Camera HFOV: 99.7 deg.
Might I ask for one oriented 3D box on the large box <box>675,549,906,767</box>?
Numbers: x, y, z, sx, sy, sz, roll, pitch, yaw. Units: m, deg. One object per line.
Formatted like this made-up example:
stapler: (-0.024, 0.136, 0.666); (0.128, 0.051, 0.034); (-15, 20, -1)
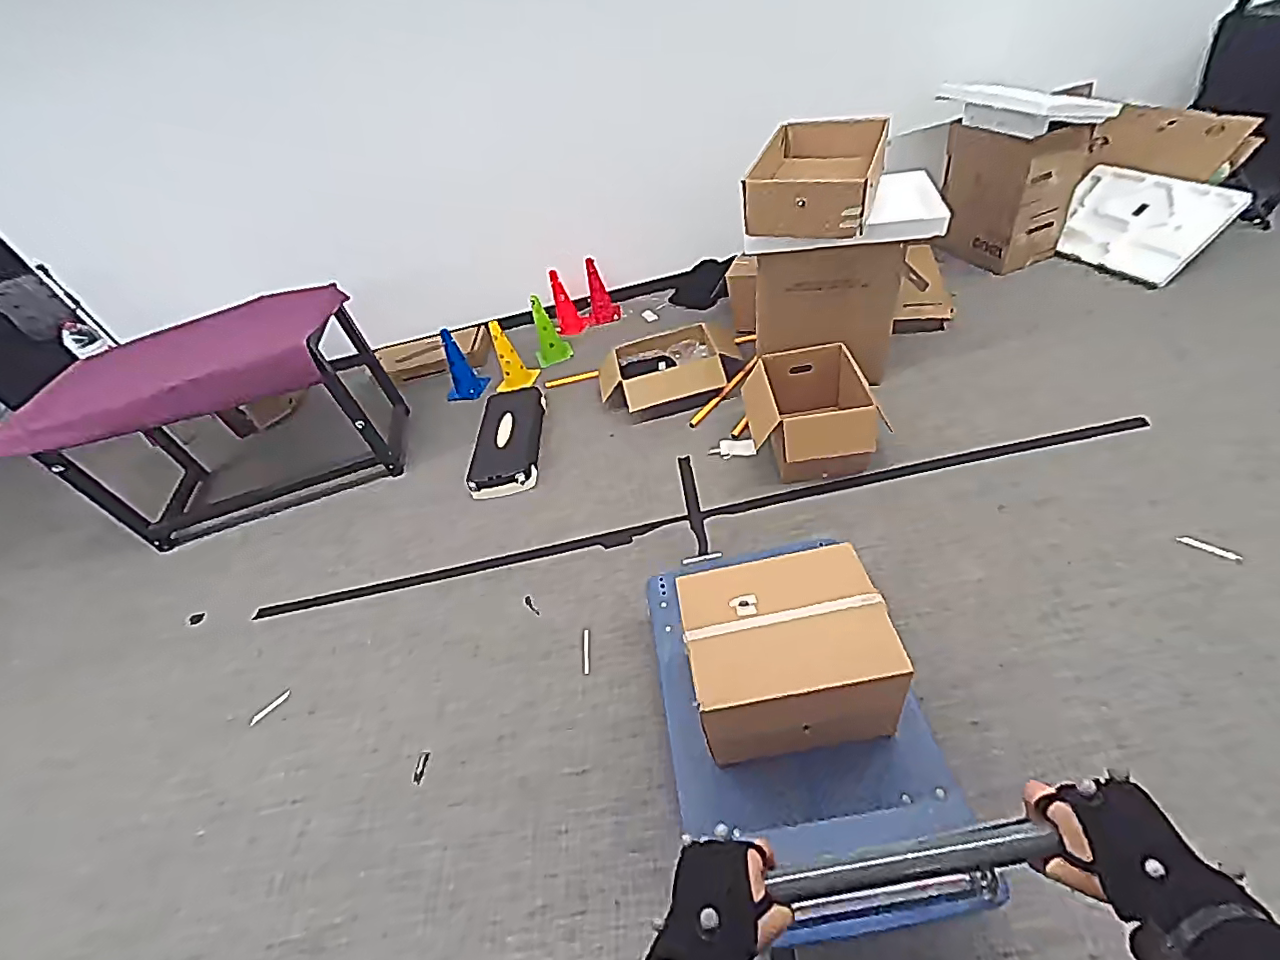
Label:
large box: (0.324, 0.409, 1.232); (0.408, 0.320, 0.320); (-14, 42, 4)
